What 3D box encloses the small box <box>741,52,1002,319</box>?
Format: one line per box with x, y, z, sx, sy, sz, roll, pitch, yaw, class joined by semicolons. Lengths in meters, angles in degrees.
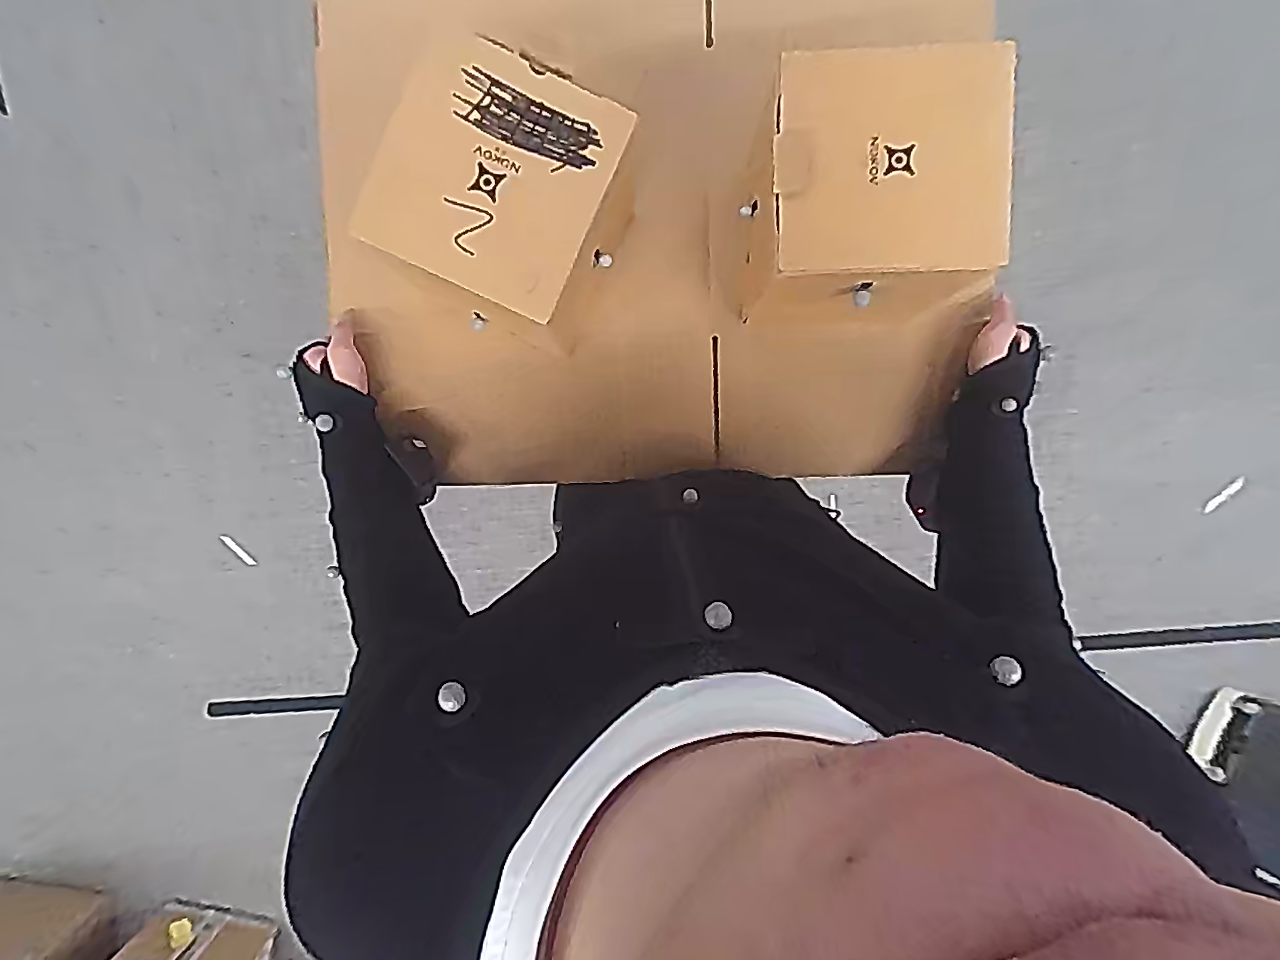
0.196;-0.253;0.504;0.179;0.176;0.168;0;93;3;small box
